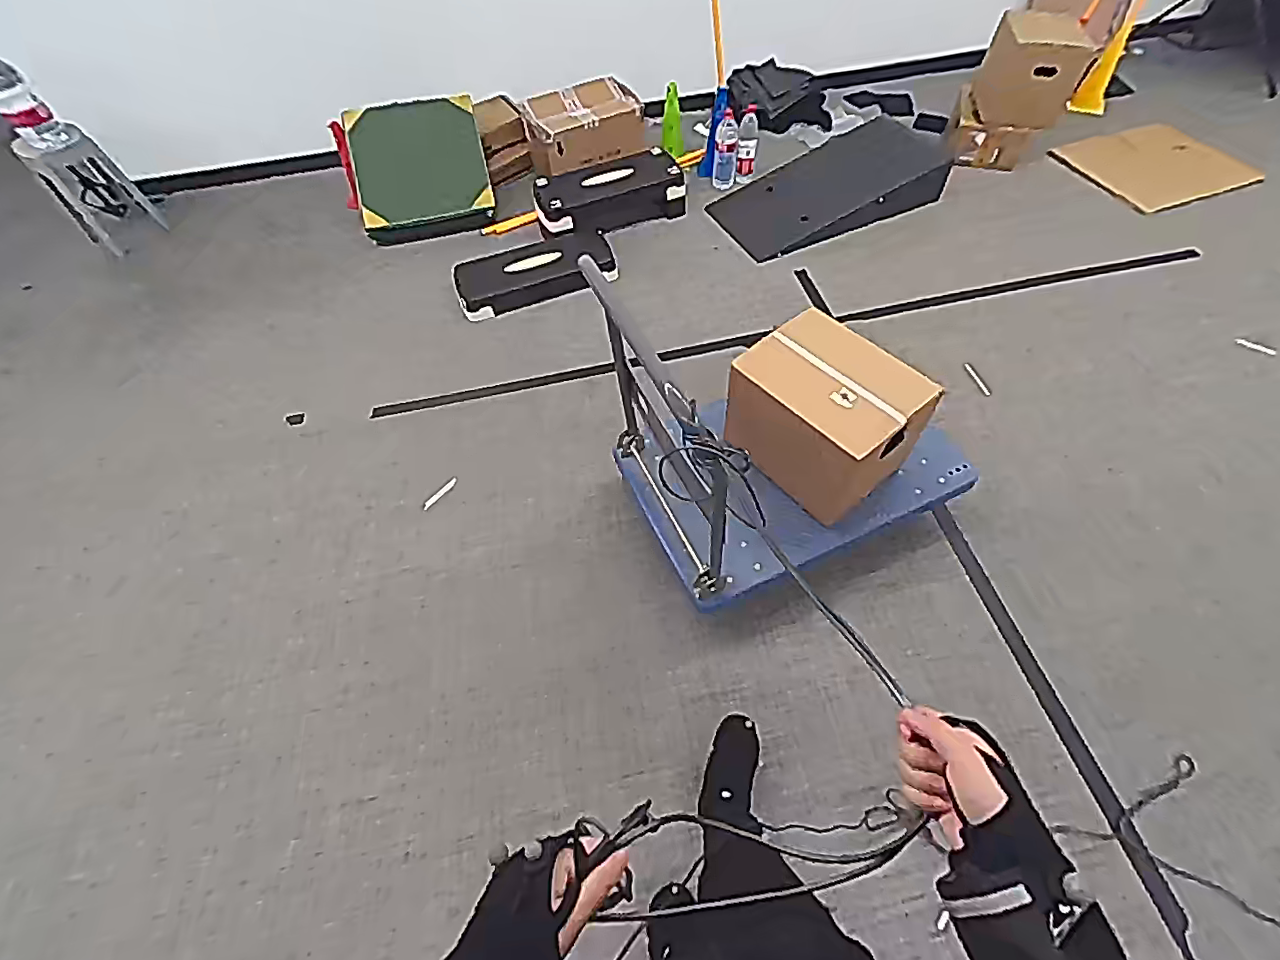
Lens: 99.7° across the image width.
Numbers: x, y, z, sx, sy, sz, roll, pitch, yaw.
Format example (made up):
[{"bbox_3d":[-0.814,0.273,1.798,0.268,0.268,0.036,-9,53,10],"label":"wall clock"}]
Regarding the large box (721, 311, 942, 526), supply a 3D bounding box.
[{"bbox_3d":[0.468,-0.162,1.420,0.320,0.320,0.408,-36,62,-17],"label":"large box"}]
